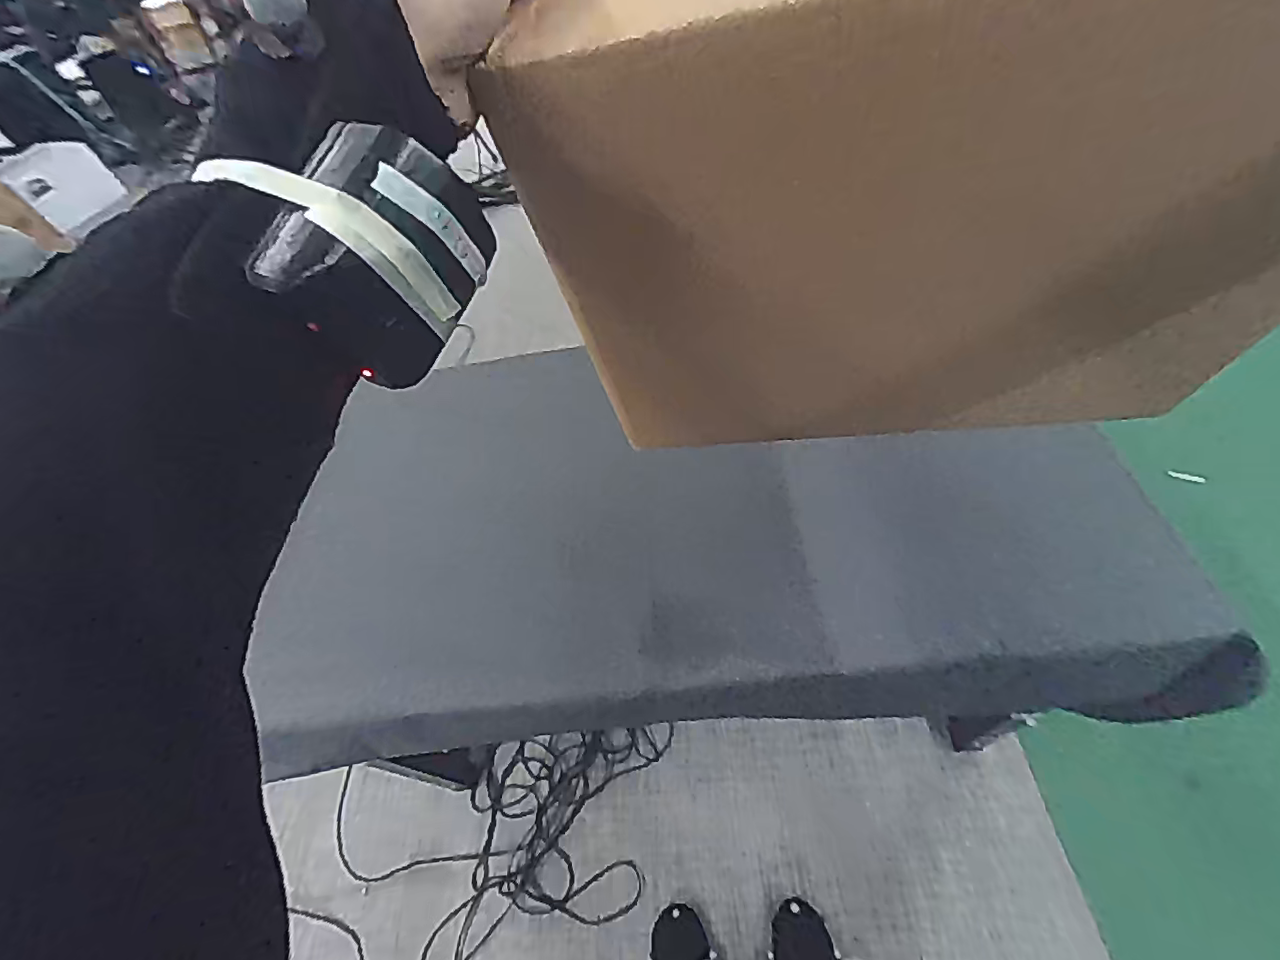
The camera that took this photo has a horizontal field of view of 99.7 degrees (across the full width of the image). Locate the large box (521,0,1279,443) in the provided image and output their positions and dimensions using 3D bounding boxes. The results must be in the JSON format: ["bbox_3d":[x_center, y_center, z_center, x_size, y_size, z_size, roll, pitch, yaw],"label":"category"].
[{"bbox_3d":[0.174,-0.241,0.373,0.408,0.320,0.320,-3,66,10],"label":"large box"}]
